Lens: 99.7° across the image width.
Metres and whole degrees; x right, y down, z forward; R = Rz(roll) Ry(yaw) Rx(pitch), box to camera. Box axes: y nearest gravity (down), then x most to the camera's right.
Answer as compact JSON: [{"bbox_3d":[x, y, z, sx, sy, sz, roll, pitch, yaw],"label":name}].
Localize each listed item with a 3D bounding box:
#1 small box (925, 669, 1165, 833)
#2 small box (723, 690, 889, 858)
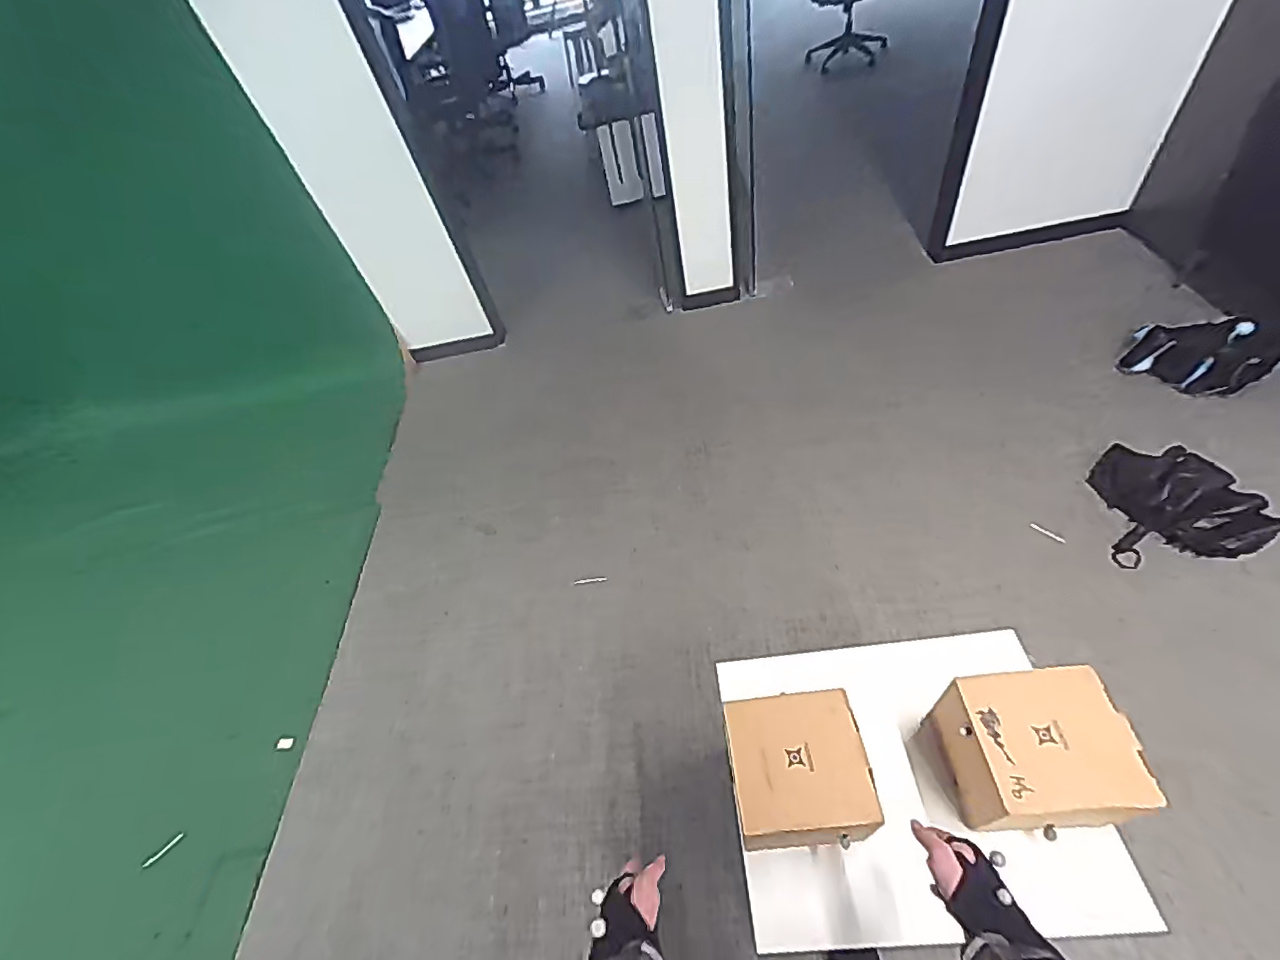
[{"bbox_3d":[0.525,0.372,0.736,0.179,0.176,0.168,-6,50,5],"label":"small box"},{"bbox_3d":[0.215,0.413,0.756,0.179,0.176,0.168,-9,48,2],"label":"small box"}]
